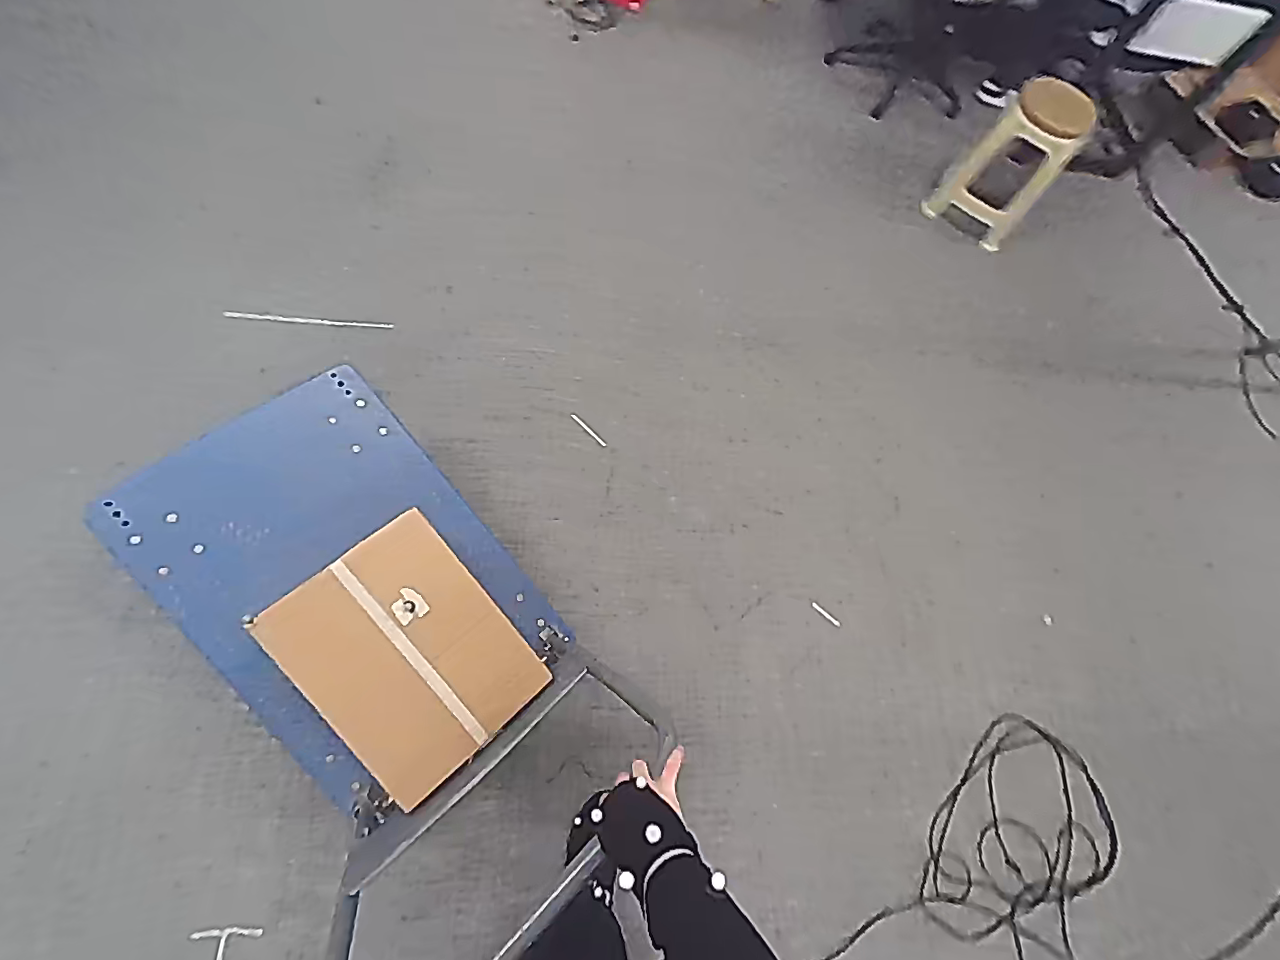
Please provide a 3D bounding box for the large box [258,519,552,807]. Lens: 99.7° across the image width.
[{"bbox_3d":[-0.438,0.337,1.085,0.320,0.320,0.408,-39,93,-22],"label":"large box"}]
